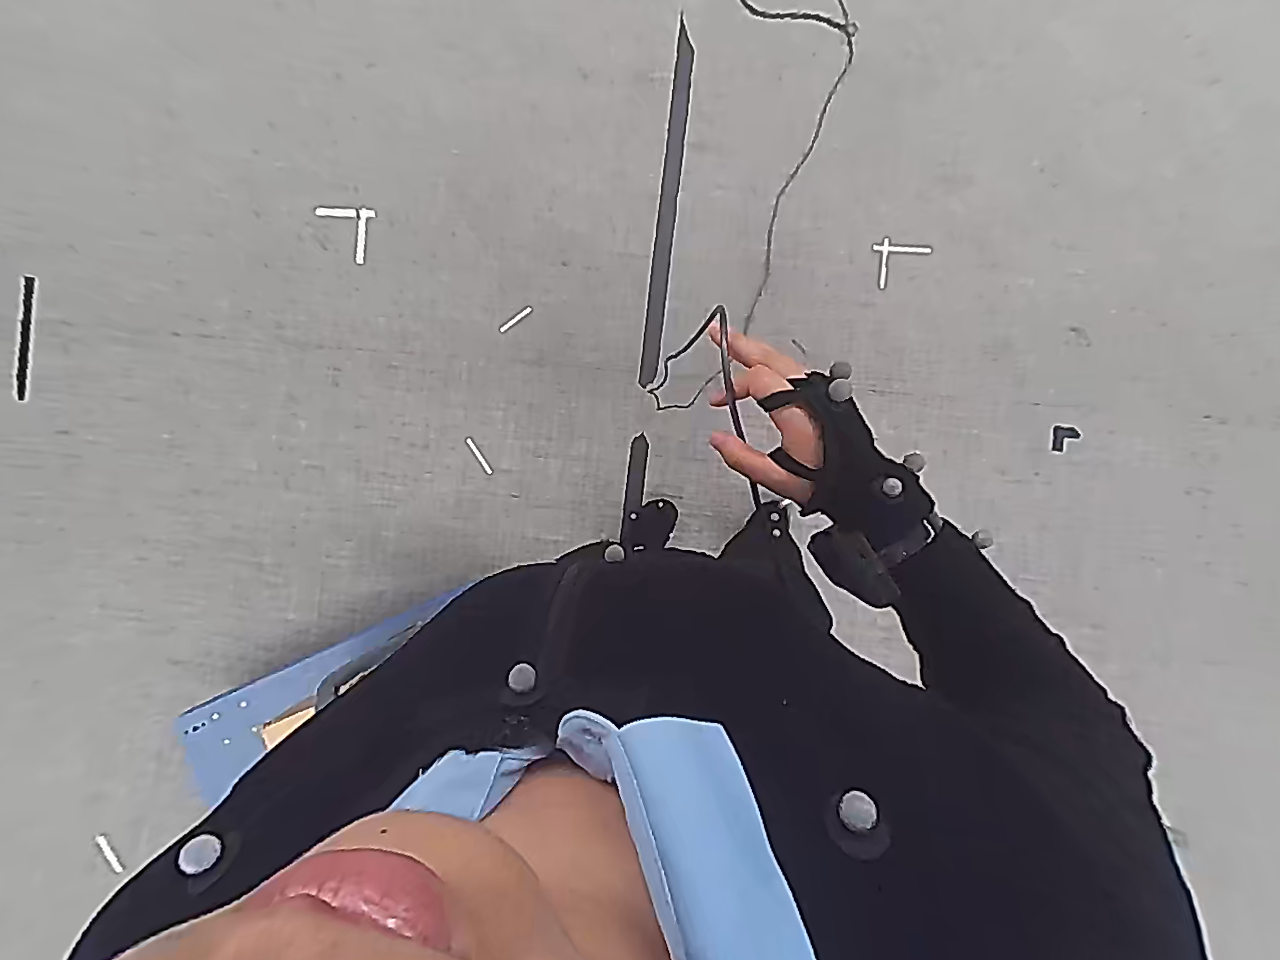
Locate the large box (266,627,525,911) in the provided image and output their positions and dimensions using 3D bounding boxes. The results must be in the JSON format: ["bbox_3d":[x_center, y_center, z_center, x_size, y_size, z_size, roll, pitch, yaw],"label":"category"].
[{"bbox_3d":[-0.505,0.598,1.194,0.320,0.320,0.408,-25,87,1],"label":"large box"}]
